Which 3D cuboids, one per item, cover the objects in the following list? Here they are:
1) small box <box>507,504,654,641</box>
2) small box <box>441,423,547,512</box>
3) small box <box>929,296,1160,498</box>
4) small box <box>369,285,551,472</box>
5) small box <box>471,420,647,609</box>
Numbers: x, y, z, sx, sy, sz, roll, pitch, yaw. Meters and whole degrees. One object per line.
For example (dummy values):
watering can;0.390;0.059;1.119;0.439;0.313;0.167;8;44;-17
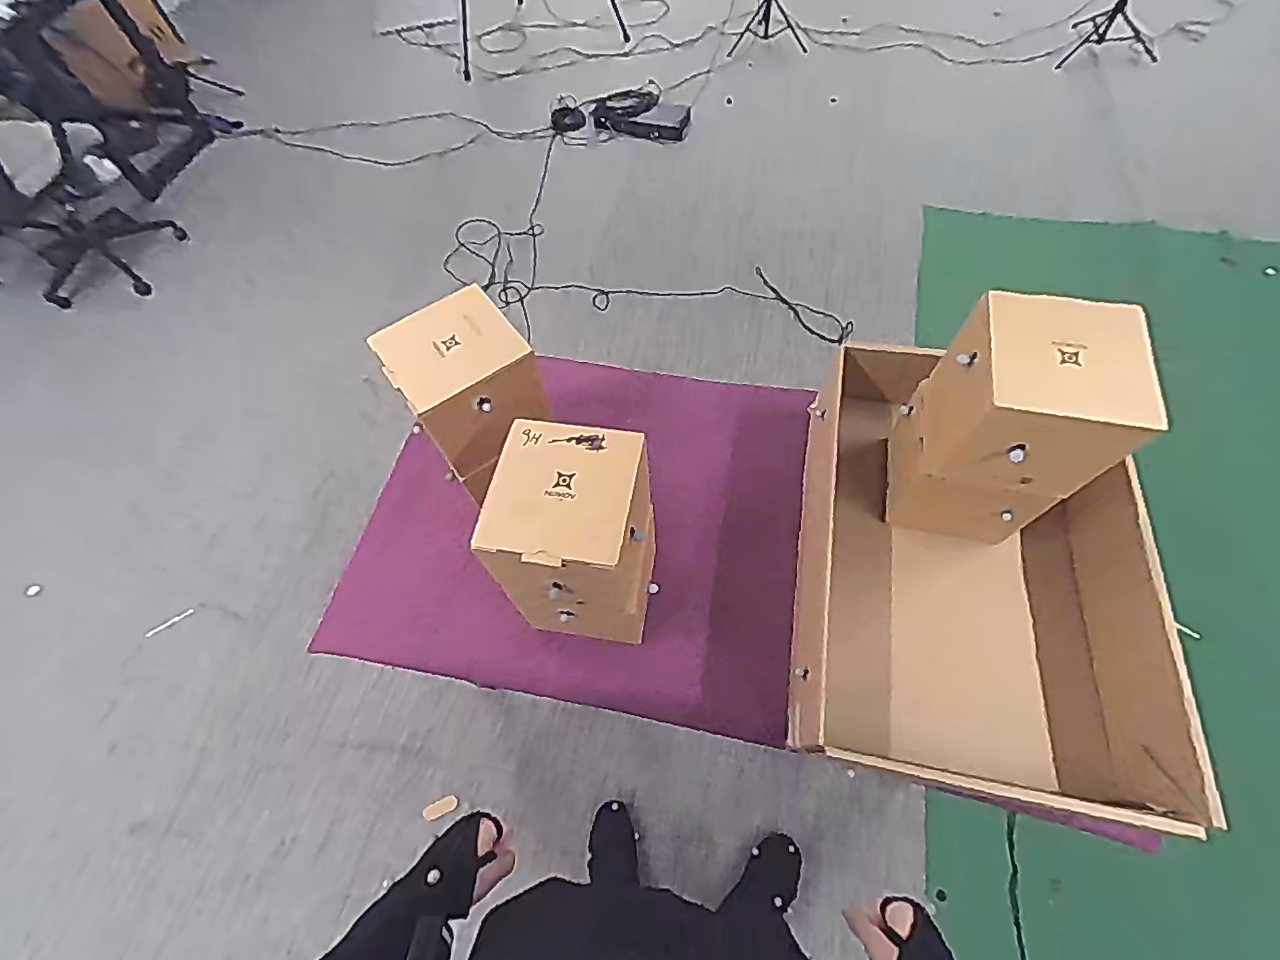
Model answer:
small box;-0.077;0.135;0.821;0.179;0.176;0.168;7;61;7
small box;-0.252;-0.062;0.940;0.168;0.176;0.179;-33;65;-15
small box;0.477;-0.097;0.671;0.168;0.176;0.179;10;63;10
small box;-0.253;-0.142;0.799;0.179;0.176;0.168;-33;66;-15
small box;-0.085;0.050;0.681;0.168;0.176;0.179;8;61;7
